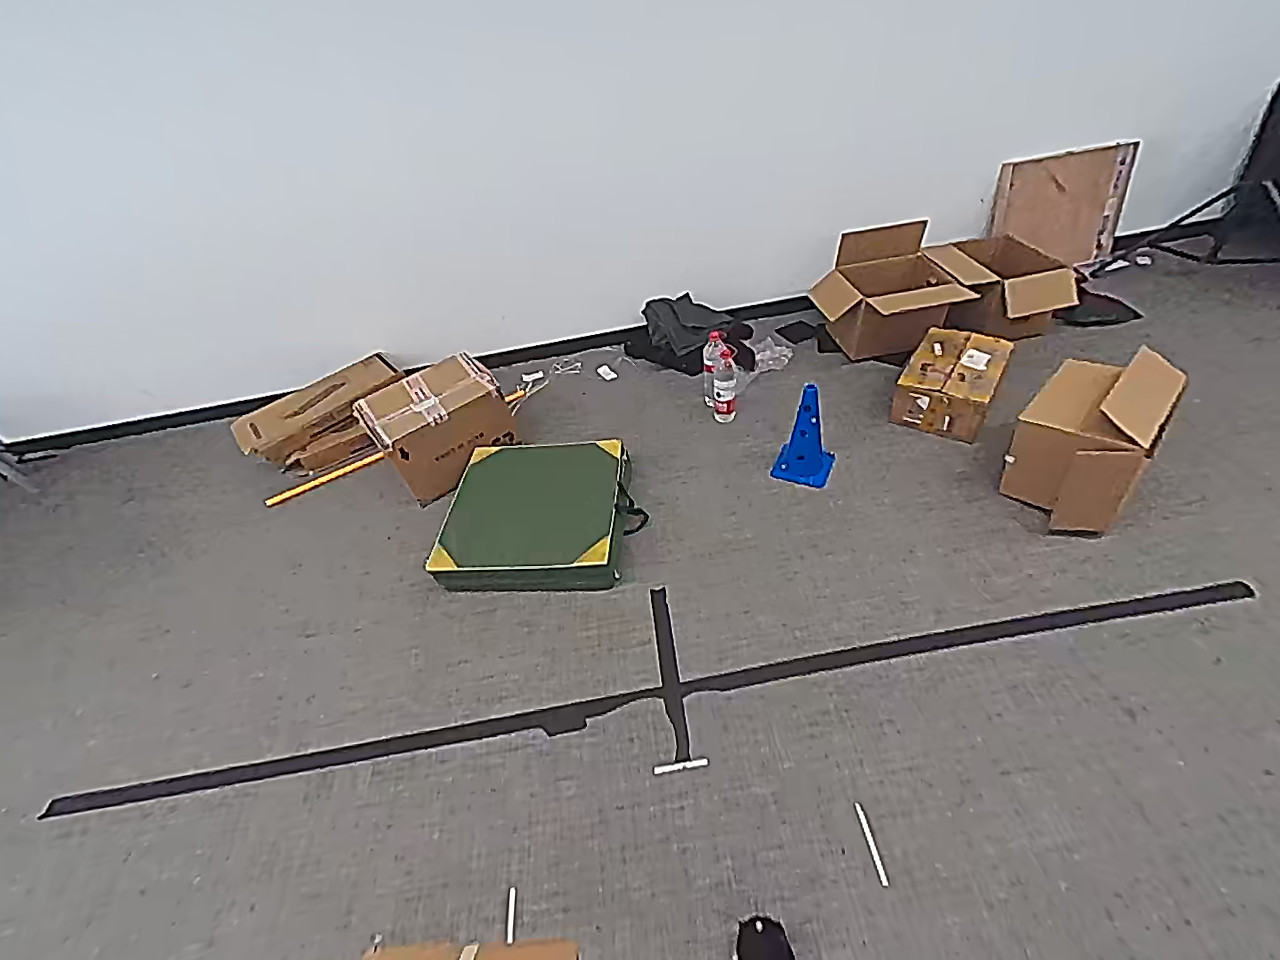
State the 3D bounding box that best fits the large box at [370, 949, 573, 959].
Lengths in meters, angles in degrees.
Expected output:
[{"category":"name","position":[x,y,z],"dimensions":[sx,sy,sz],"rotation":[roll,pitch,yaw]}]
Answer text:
[{"category":"large box","position":[-0.245,0.837,0.593],"dimensions":[0.320,0.408,0.320],"rotation":[-2,85,1]}]
